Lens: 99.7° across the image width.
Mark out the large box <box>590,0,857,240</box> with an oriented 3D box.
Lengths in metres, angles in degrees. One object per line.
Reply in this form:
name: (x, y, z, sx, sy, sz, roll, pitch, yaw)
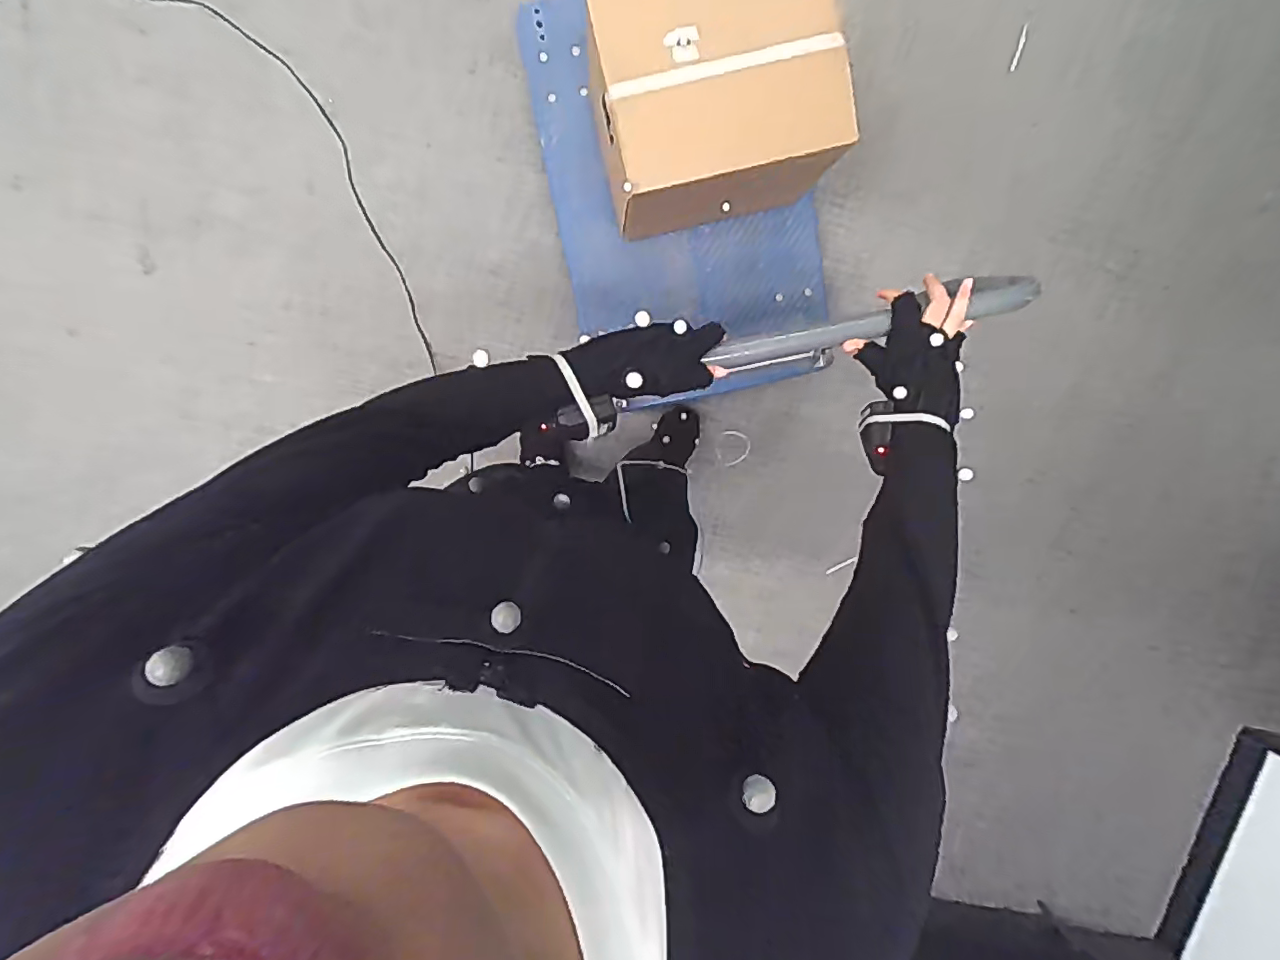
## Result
large box: (0.140, -0.706, 1.047, 0.408, 0.320, 0.320, -15, 100, -1)
